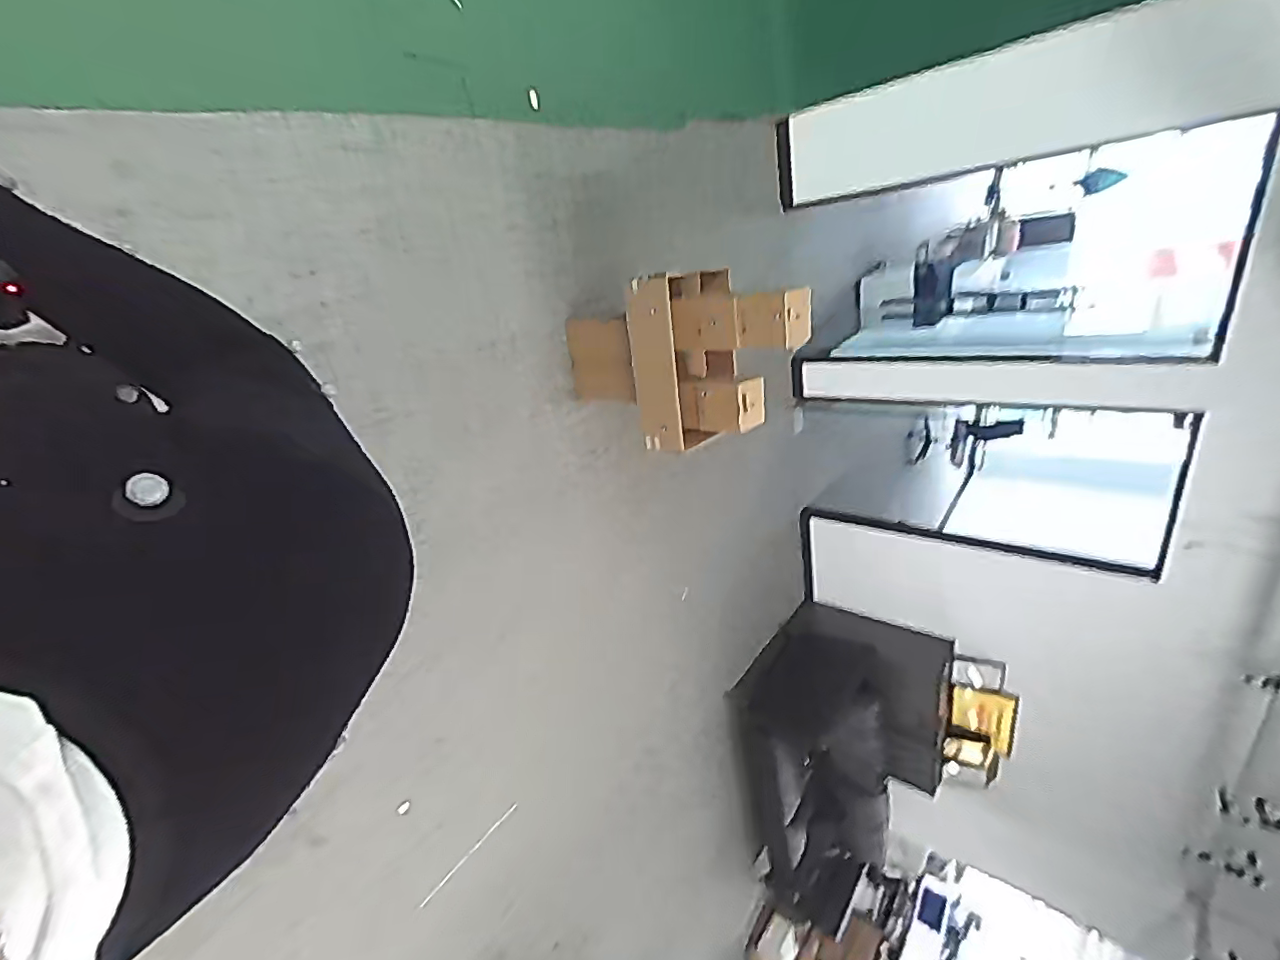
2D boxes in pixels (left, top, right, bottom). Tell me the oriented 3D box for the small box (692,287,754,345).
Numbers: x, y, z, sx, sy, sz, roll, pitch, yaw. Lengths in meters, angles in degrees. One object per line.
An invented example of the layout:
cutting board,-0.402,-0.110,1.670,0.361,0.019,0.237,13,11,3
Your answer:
small box,0.286,-0.550,1.816,0.179,0.176,0.168,-29,120,-42

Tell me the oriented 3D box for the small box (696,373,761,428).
small box,0.309,-0.284,1.909,0.179,0.176,0.168,-25,117,-46

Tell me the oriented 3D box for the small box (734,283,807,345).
small box,0.416,-0.528,1.718,0.179,0.176,0.168,-30,121,-43
